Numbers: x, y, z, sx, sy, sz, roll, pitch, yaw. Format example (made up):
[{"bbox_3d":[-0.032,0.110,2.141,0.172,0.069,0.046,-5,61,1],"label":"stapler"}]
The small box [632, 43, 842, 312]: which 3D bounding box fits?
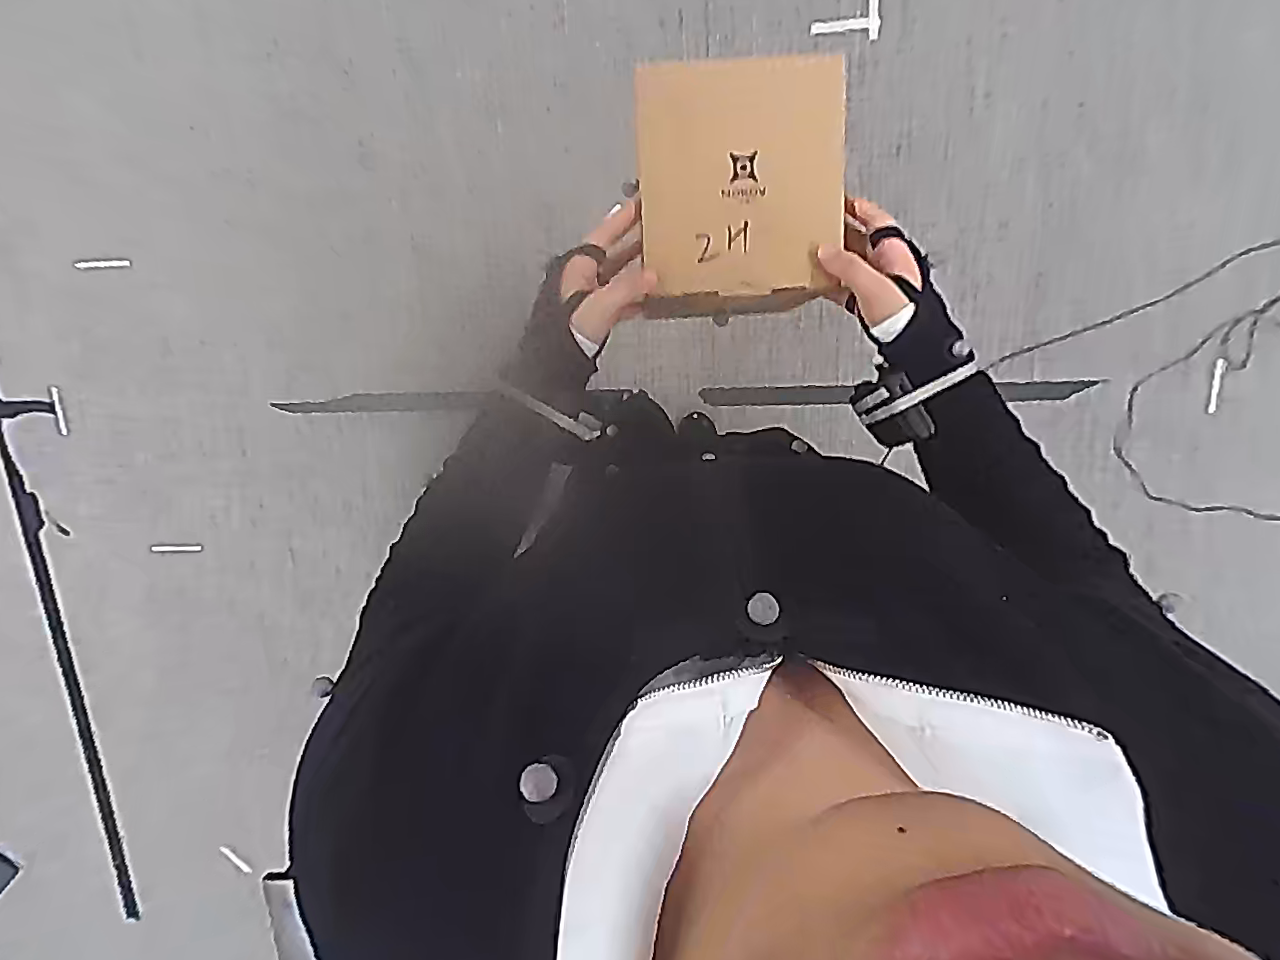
[{"bbox_3d":[0.078,-0.263,0.510,0.168,0.176,0.179,-3,100,0],"label":"small box"}]
